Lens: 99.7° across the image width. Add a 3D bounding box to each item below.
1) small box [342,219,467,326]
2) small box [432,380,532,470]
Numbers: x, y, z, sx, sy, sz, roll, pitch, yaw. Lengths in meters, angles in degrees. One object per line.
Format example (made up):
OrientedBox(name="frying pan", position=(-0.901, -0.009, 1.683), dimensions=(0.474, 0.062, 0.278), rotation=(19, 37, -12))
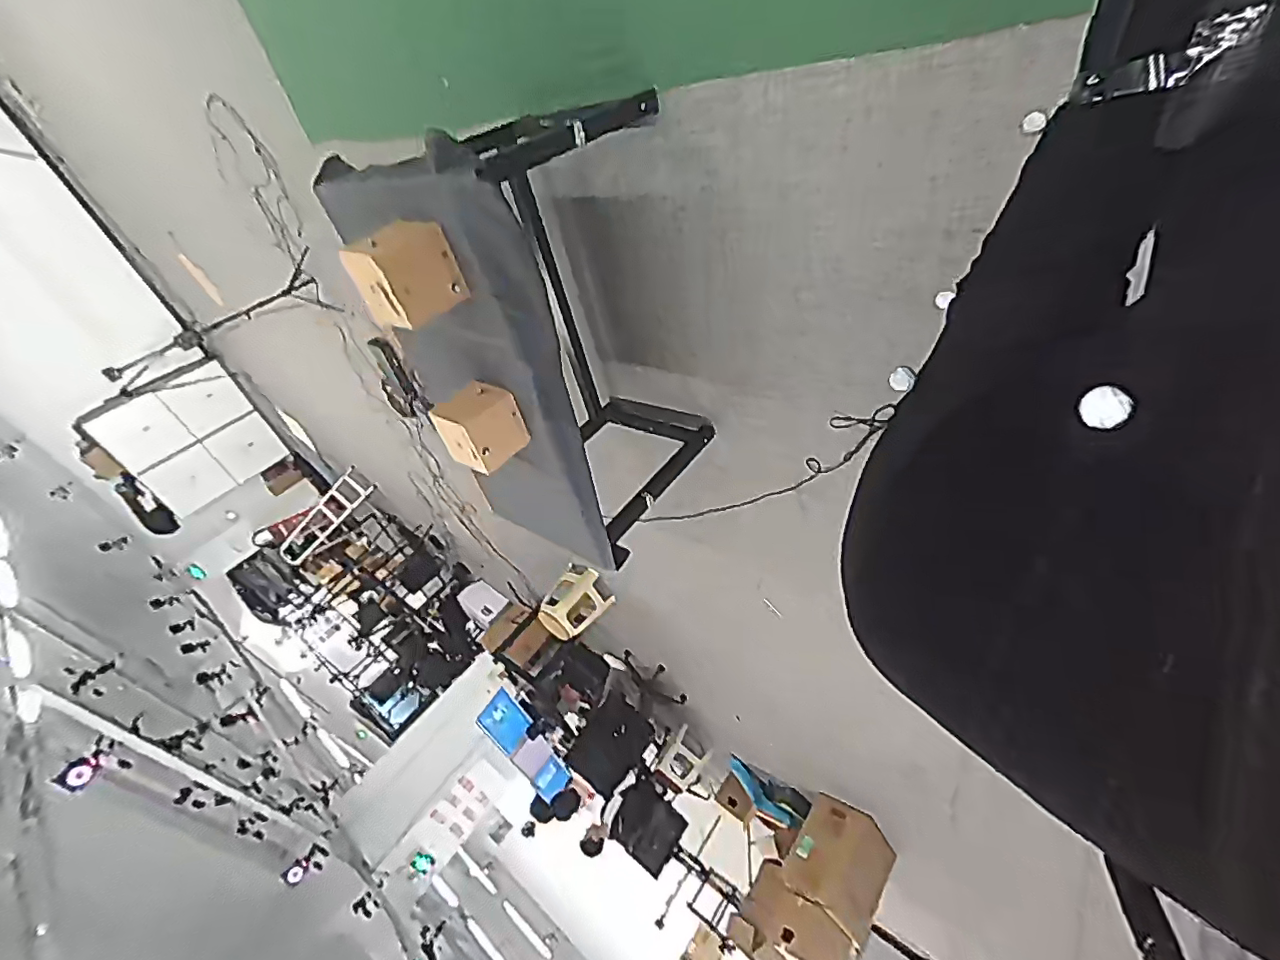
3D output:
OrientedBox(name="small box", position=(-0.515, -0.469, 1.212), dimensions=(0.179, 0.176, 0.168), rotation=(23, 144, 36))
OrientedBox(name="small box", position=(-0.432, -0.159, 1.494), dimensions=(0.179, 0.176, 0.168), rotation=(21, 142, 37))
